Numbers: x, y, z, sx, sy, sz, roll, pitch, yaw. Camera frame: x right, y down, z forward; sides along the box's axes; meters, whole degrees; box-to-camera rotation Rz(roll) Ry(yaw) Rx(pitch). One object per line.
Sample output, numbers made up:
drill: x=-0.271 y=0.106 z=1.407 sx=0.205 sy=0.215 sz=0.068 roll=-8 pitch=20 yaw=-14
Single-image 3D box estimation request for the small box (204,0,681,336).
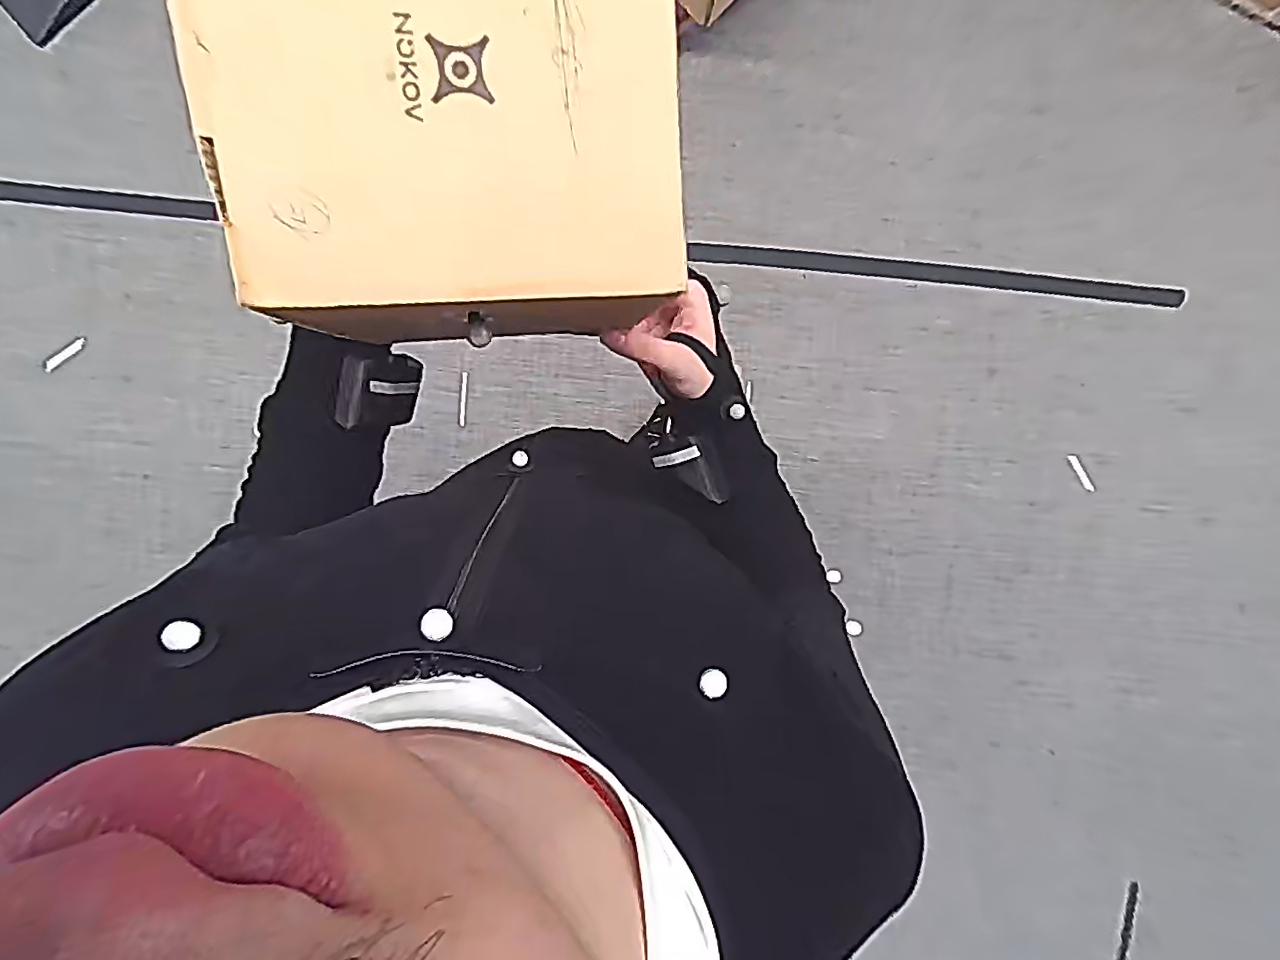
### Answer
small box: x=-0.085 y=-0.171 z=0.291 sx=0.179 sy=0.176 sz=0.168 roll=-6 pitch=101 yaw=-10
